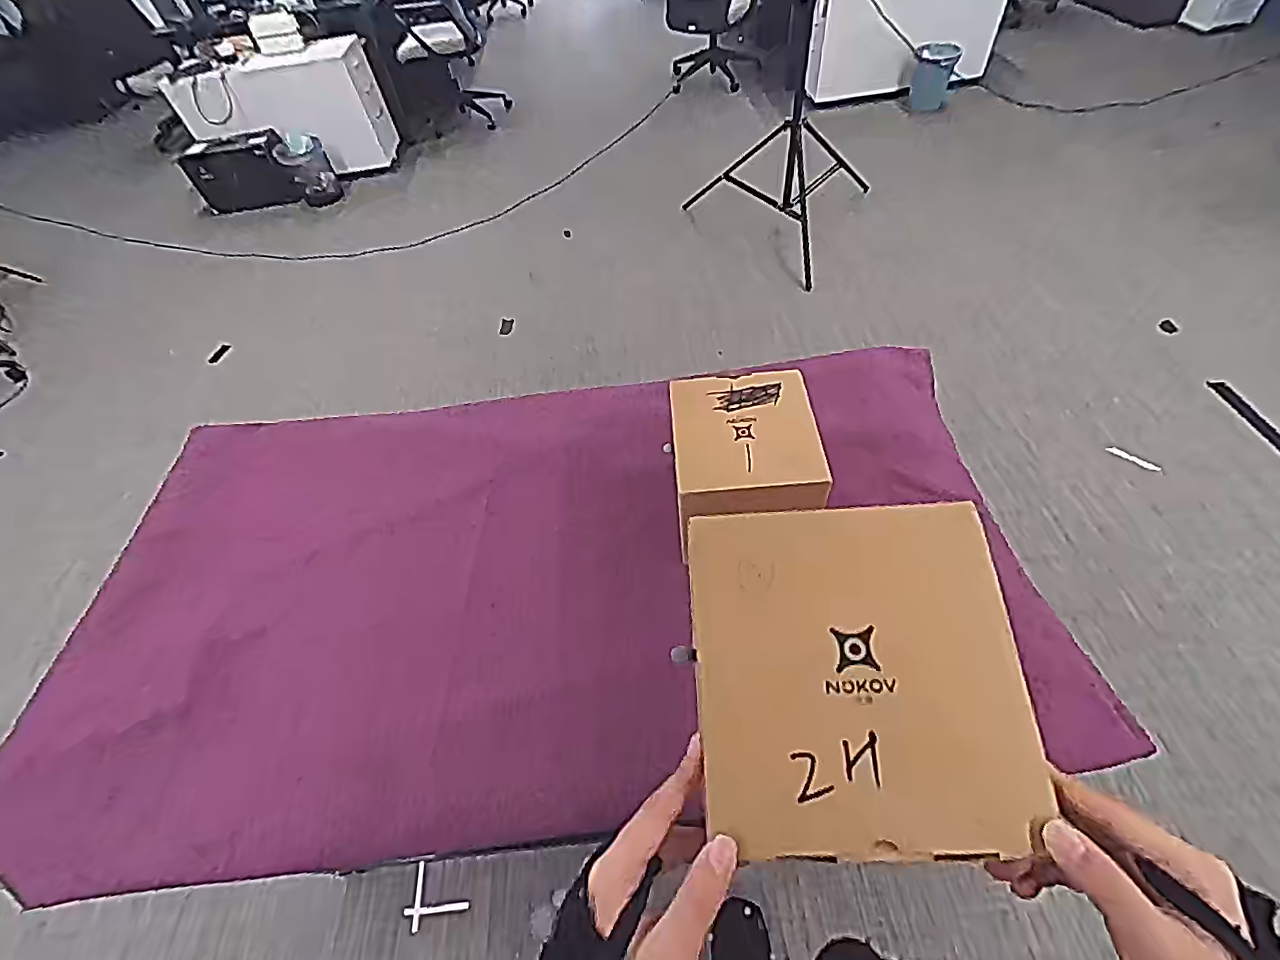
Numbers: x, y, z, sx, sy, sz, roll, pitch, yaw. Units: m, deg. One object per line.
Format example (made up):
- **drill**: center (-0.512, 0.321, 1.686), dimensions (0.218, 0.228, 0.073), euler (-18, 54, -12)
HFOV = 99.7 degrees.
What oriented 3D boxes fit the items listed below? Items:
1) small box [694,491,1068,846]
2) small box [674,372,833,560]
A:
- **small box**: center (0.121, 0.119, 0.358), dimensions (0.168, 0.176, 0.179), euler (-3, 68, 5)
- **small box**: center (0.130, -0.012, 0.691), dimensions (0.168, 0.176, 0.179), euler (-5, 53, 4)
